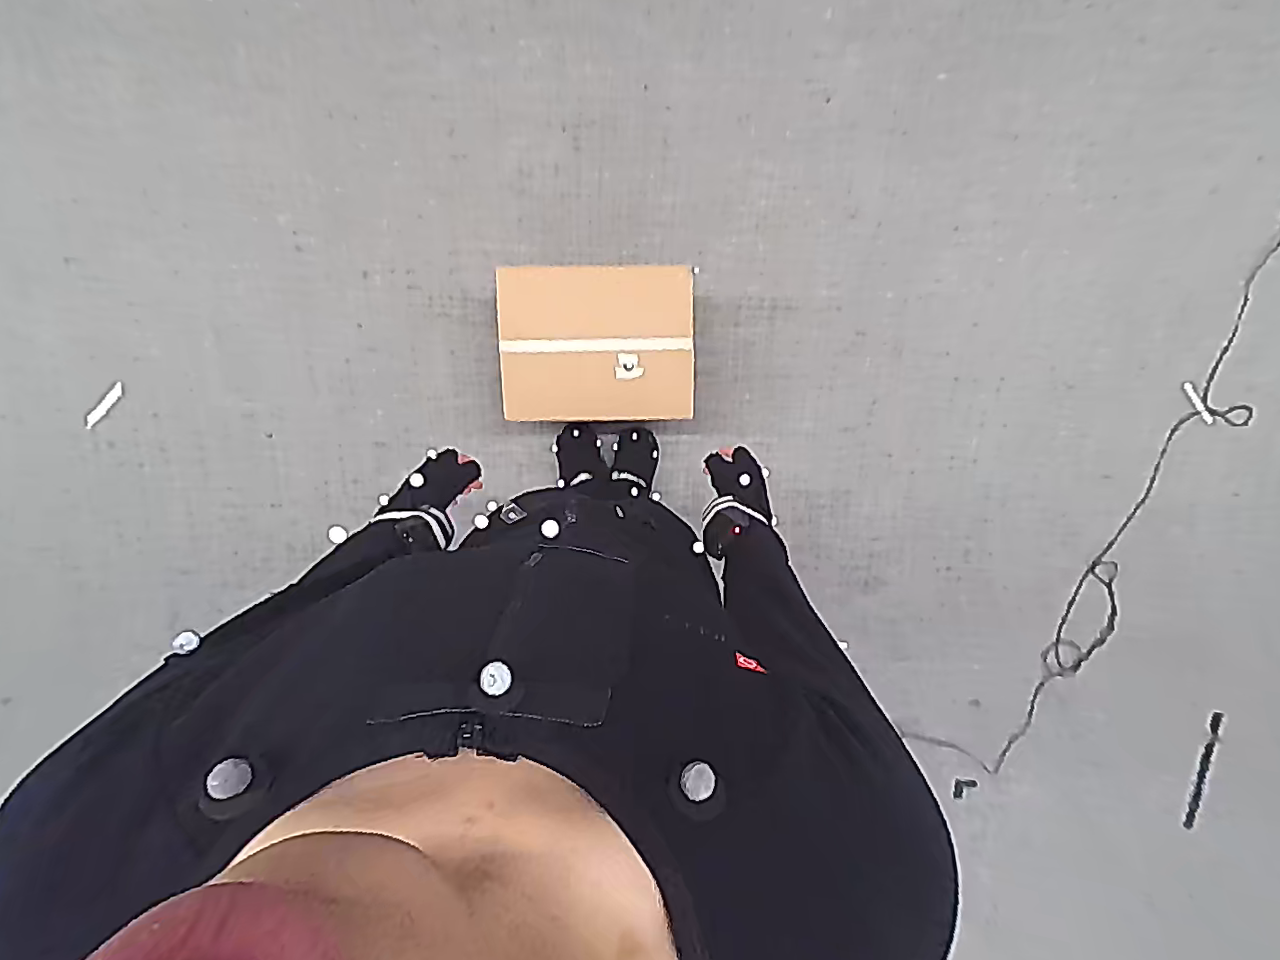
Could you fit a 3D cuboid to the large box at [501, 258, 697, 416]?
[{"bbox_3d":[-0.085,-0.321,1.270,0.408,0.320,0.320,-1,101,-1],"label":"large box"}]
